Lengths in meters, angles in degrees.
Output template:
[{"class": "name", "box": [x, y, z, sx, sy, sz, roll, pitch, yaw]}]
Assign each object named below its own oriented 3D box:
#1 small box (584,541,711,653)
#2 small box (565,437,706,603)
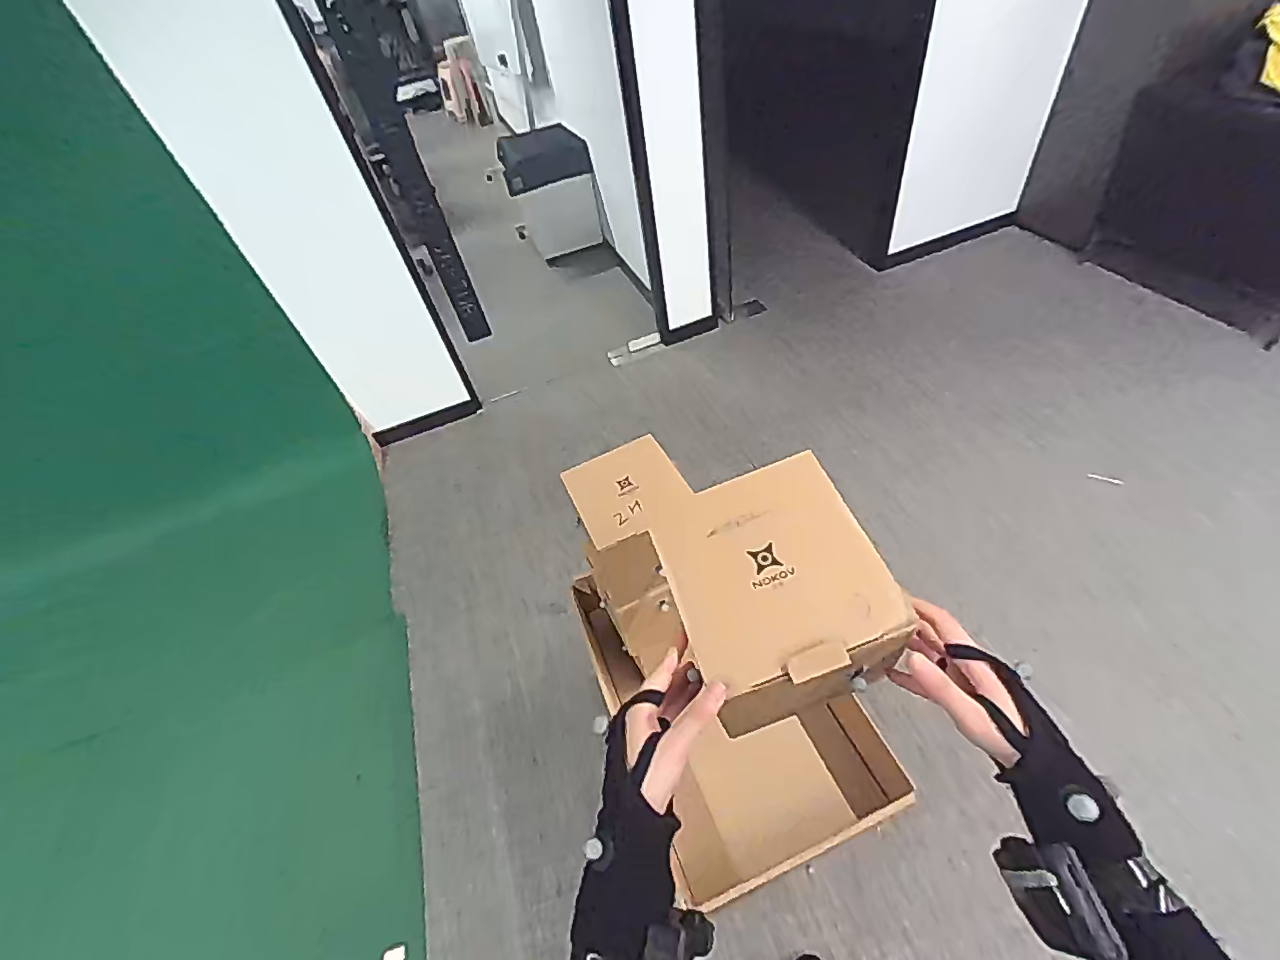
[{"class": "small box", "box": [0.019, 0.185, 1.000, 0.179, 0.176, 0.168, -26, 49, -10]}, {"class": "small box", "box": [-0.005, 0.067, 0.887, 0.168, 0.176, 0.179, -24, 49, -9]}]
